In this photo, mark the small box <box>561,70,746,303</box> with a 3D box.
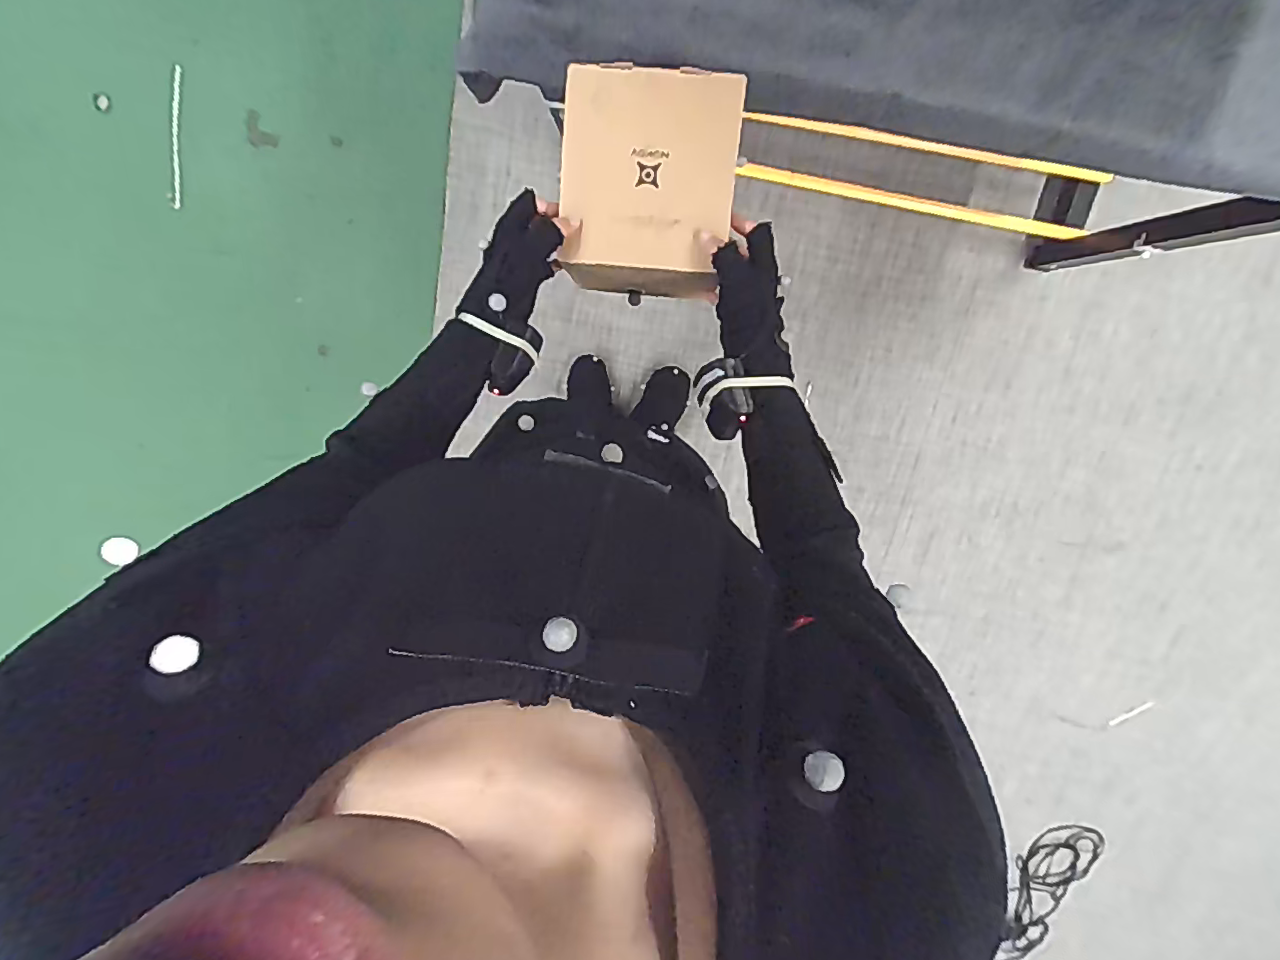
[{"bbox_3d":[0.015,-0.304,0.596,0.168,0.176,0.179,5,100,3],"label":"small box"}]
